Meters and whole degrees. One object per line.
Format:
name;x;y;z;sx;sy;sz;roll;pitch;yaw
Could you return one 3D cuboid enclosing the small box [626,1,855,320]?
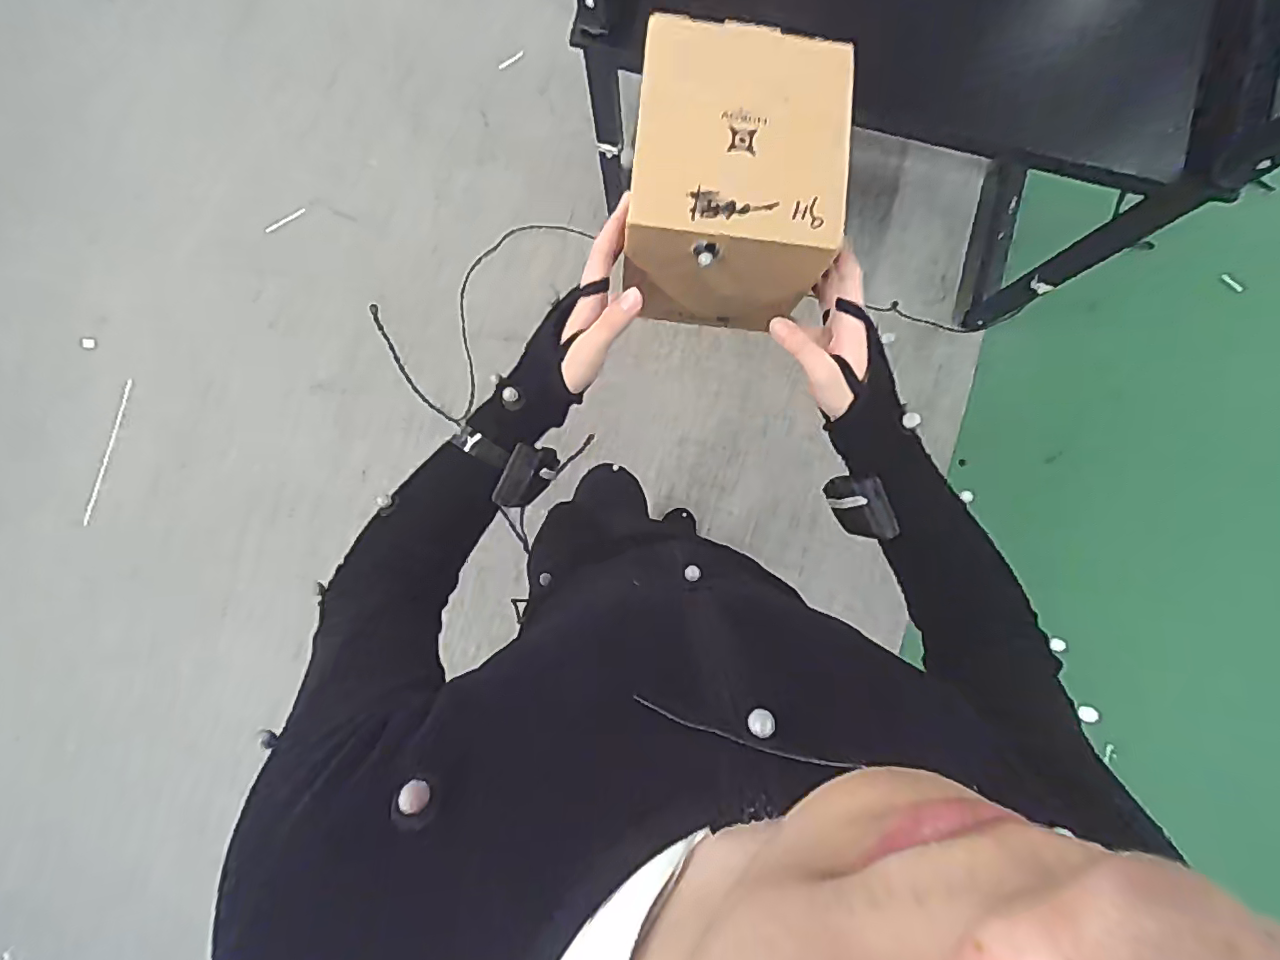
small box;0.077;-0.271;0.495;0.168;0.176;0.179;6;83;-2
